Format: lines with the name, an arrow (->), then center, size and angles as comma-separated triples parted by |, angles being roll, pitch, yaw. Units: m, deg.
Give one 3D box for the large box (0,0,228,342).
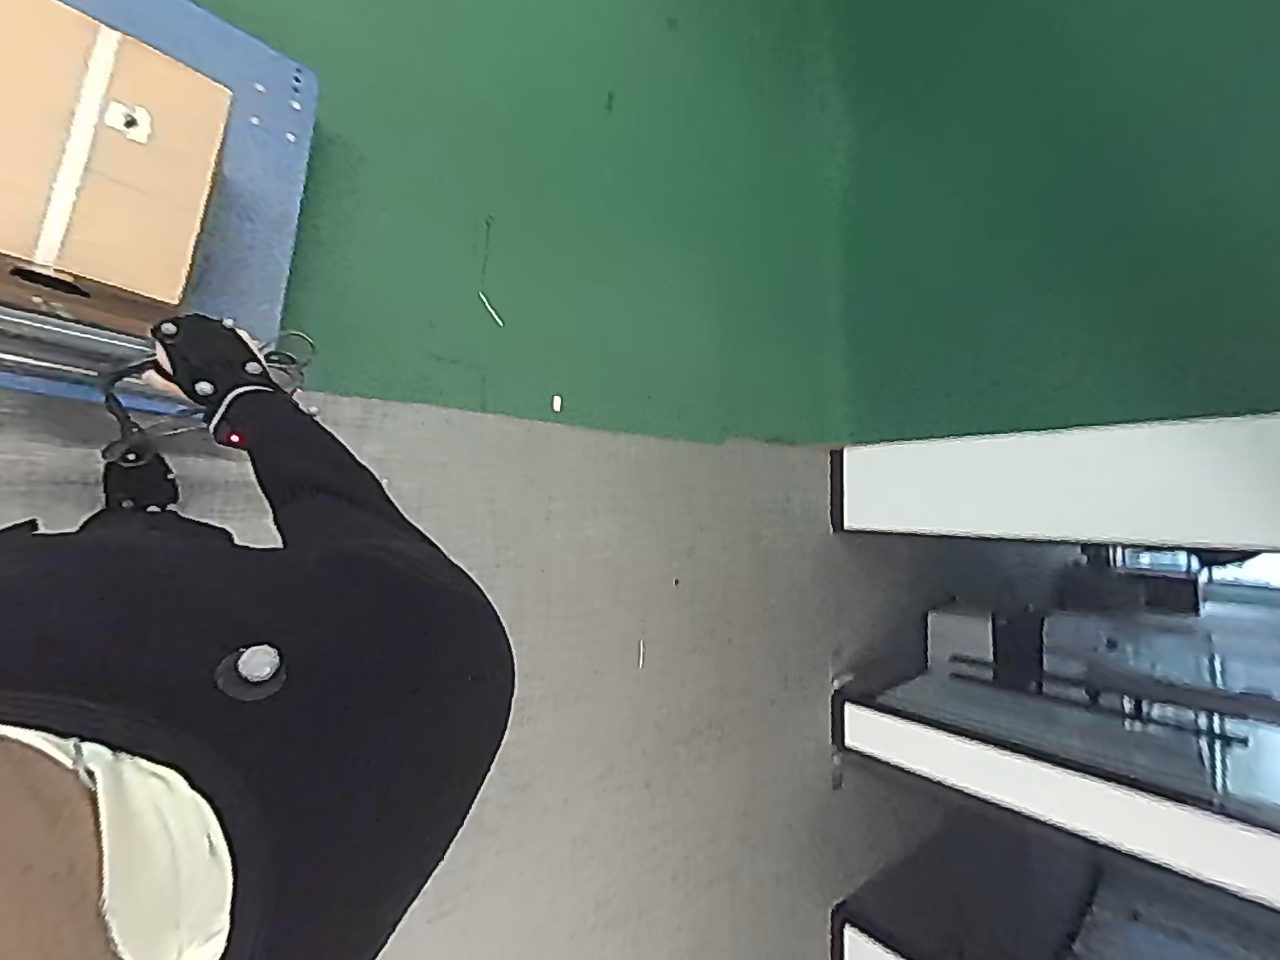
large box -> -0.956, -0.507, 0.942 | 0.320, 0.320, 0.408 | 14, 79, -40
